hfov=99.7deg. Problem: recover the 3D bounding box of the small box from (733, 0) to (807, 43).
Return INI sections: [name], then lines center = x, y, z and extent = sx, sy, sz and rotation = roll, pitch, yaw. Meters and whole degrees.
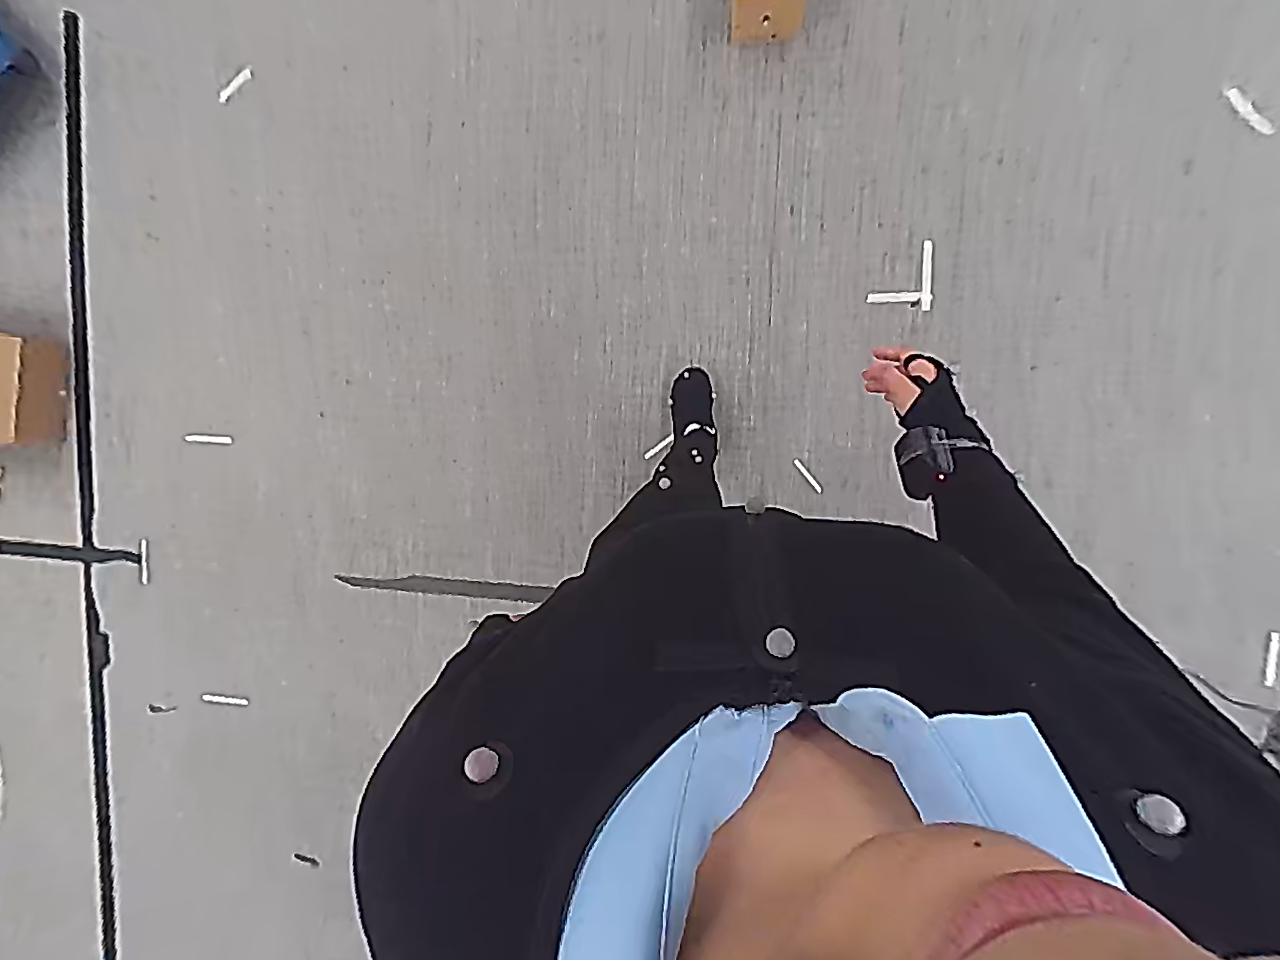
[small box]
center = 0.310, -1.185, 1.286
extent = 0.168, 0.176, 0.179
rotation = -1, 93, 6
